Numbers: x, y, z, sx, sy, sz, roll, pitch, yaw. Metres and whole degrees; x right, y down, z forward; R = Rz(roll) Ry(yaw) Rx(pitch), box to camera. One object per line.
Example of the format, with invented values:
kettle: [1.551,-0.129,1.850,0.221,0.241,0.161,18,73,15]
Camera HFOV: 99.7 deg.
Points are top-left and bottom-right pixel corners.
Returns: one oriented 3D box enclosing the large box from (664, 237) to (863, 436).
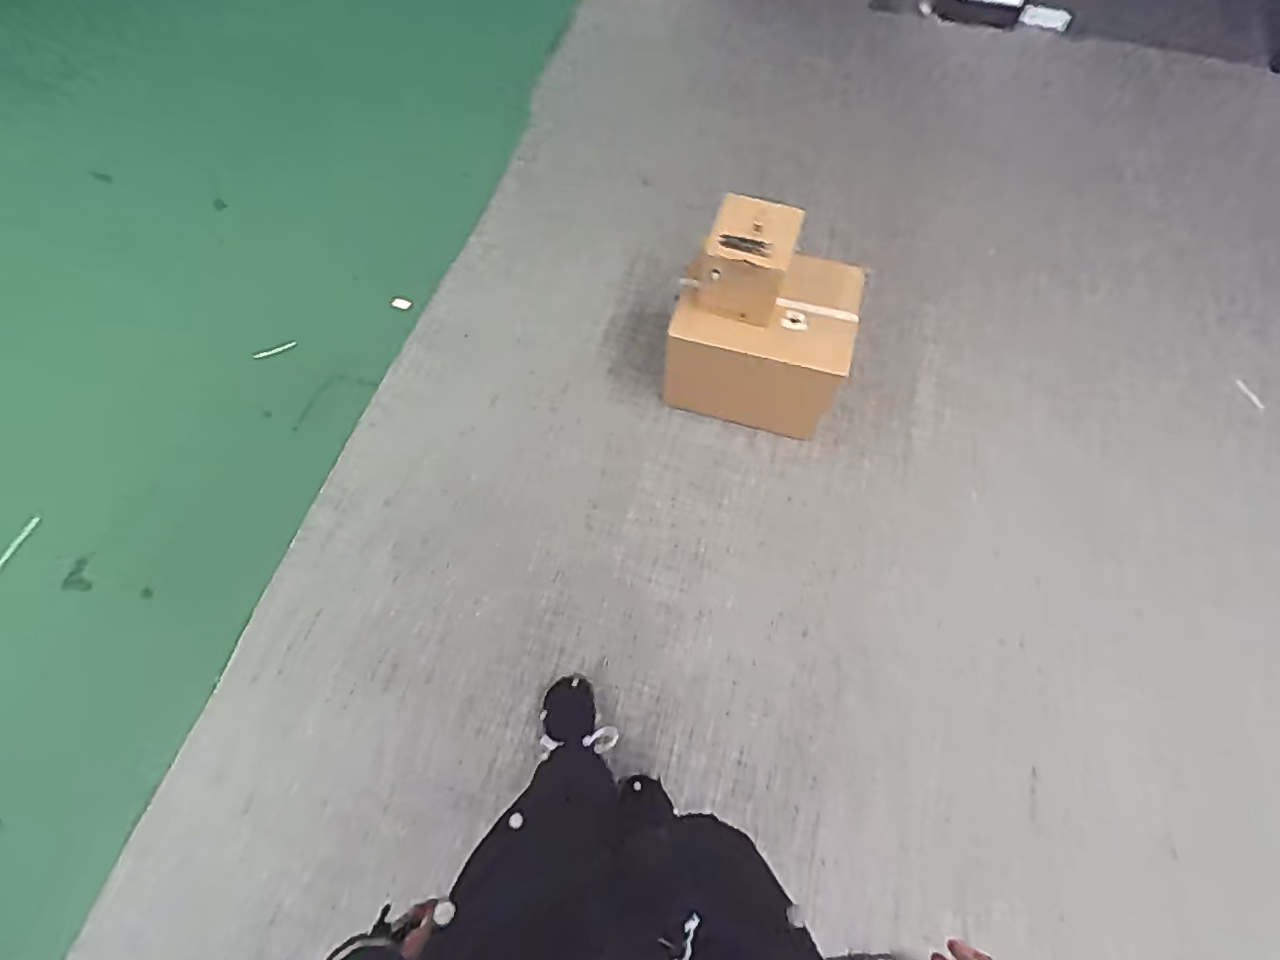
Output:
large box: [0.292,-0.350,1.364,0.408,0.320,0.320,14,70,5]
